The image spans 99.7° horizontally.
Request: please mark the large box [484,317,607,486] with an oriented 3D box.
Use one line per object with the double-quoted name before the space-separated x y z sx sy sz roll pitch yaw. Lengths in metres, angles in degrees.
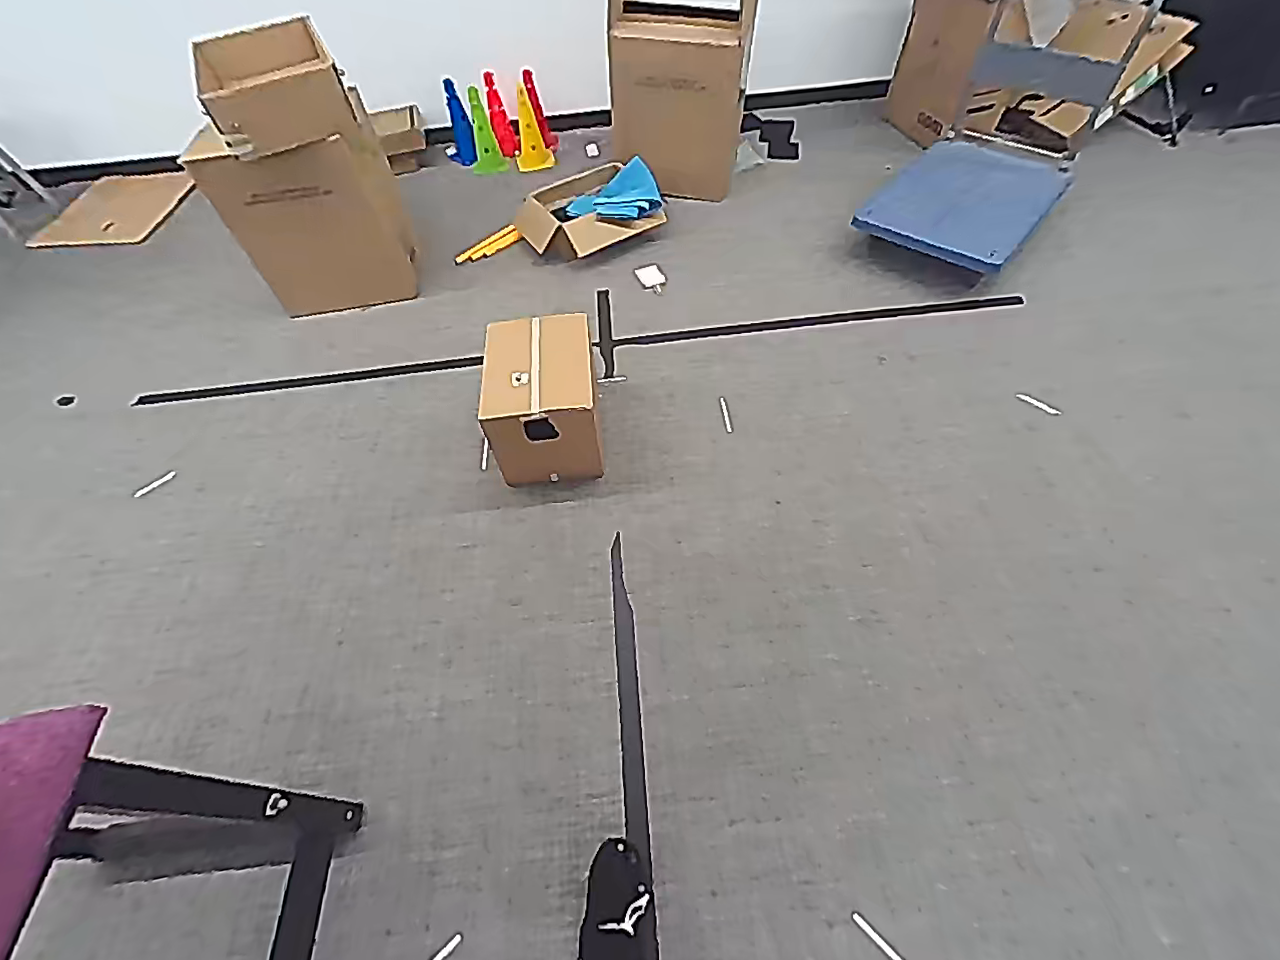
"large box" -0.282 -0.242 1.675 0.320 0.320 0.408 -8 55 -1
